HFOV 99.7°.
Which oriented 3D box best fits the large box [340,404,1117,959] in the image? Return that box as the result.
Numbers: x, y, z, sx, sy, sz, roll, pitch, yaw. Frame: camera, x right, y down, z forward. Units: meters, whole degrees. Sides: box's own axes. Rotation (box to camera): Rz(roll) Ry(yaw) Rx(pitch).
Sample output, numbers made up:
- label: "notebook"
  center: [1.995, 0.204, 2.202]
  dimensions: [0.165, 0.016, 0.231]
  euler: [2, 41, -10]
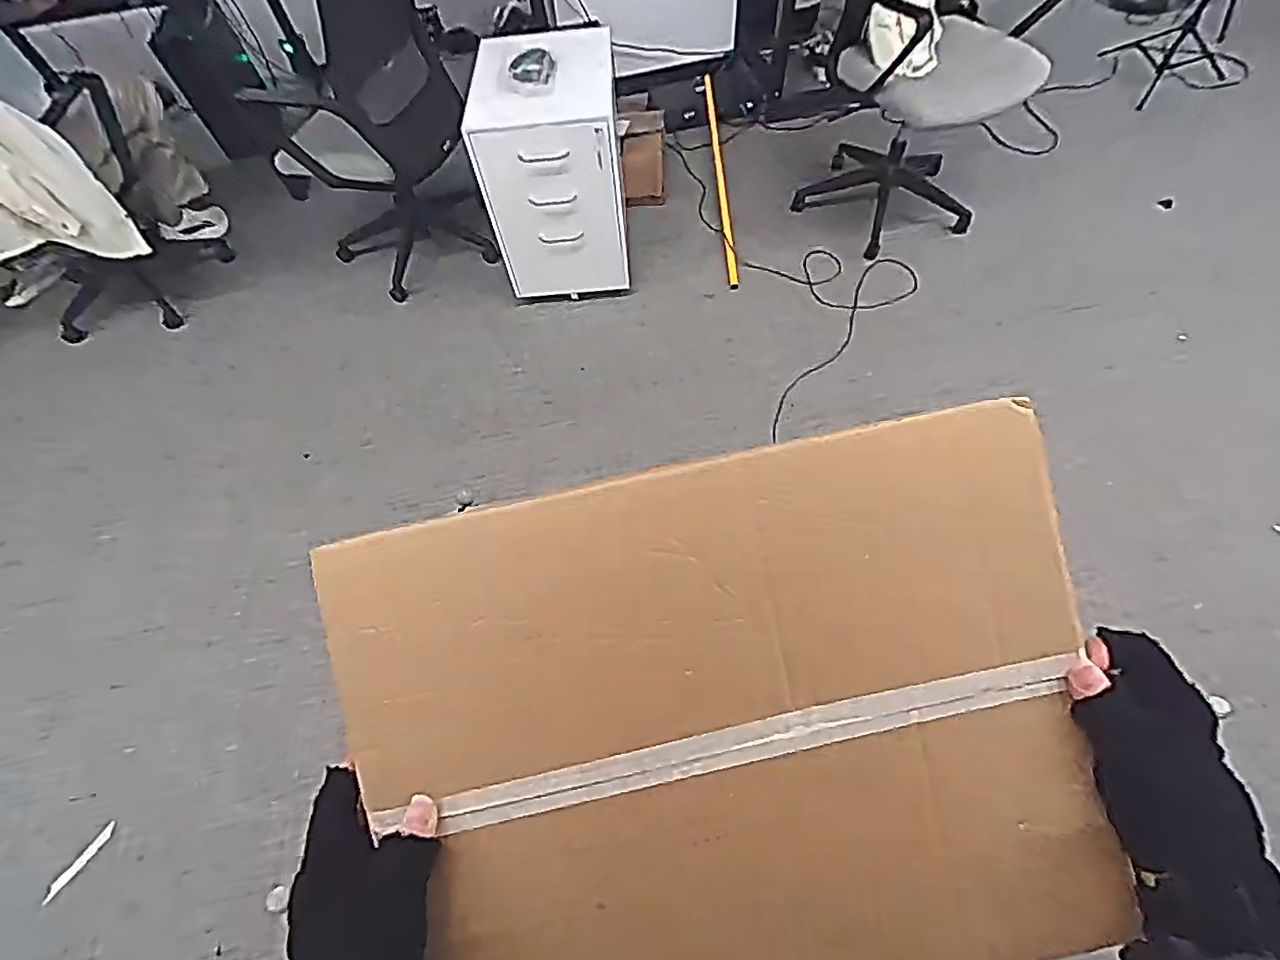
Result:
- label: "large box"
  center: [0.049, 0.150, 0.460]
  dimensions: [0.408, 0.320, 0.320]
  euler: [-13, 91, -1]
